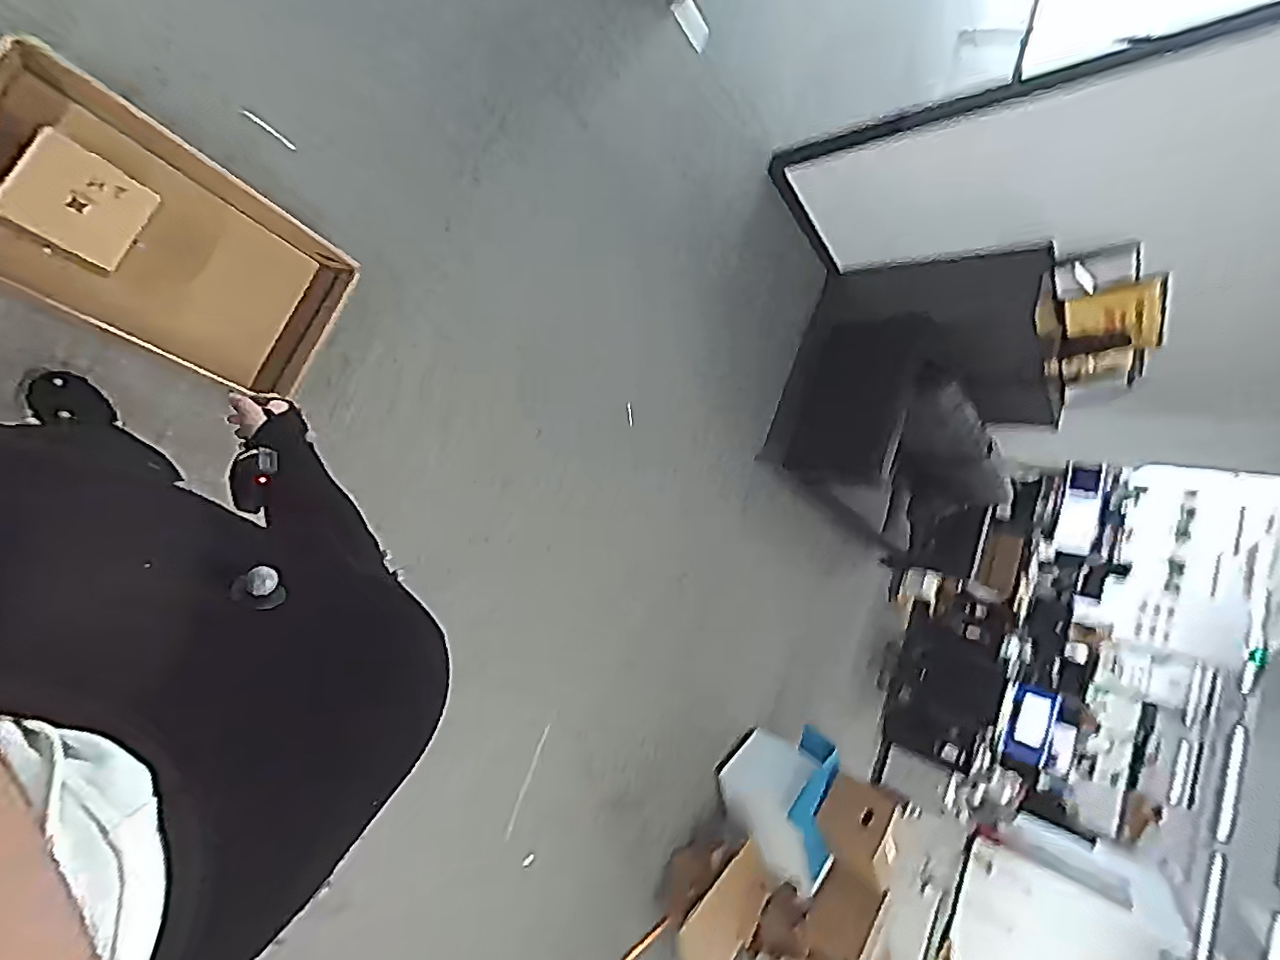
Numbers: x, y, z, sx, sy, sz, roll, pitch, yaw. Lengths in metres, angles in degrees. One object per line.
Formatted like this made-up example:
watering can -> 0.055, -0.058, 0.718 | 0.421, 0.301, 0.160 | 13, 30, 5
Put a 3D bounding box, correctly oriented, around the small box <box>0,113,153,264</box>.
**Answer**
small box -> -1.065, -0.530, 1.013 | 0.168, 0.176, 0.179 | 34, 74, -46
